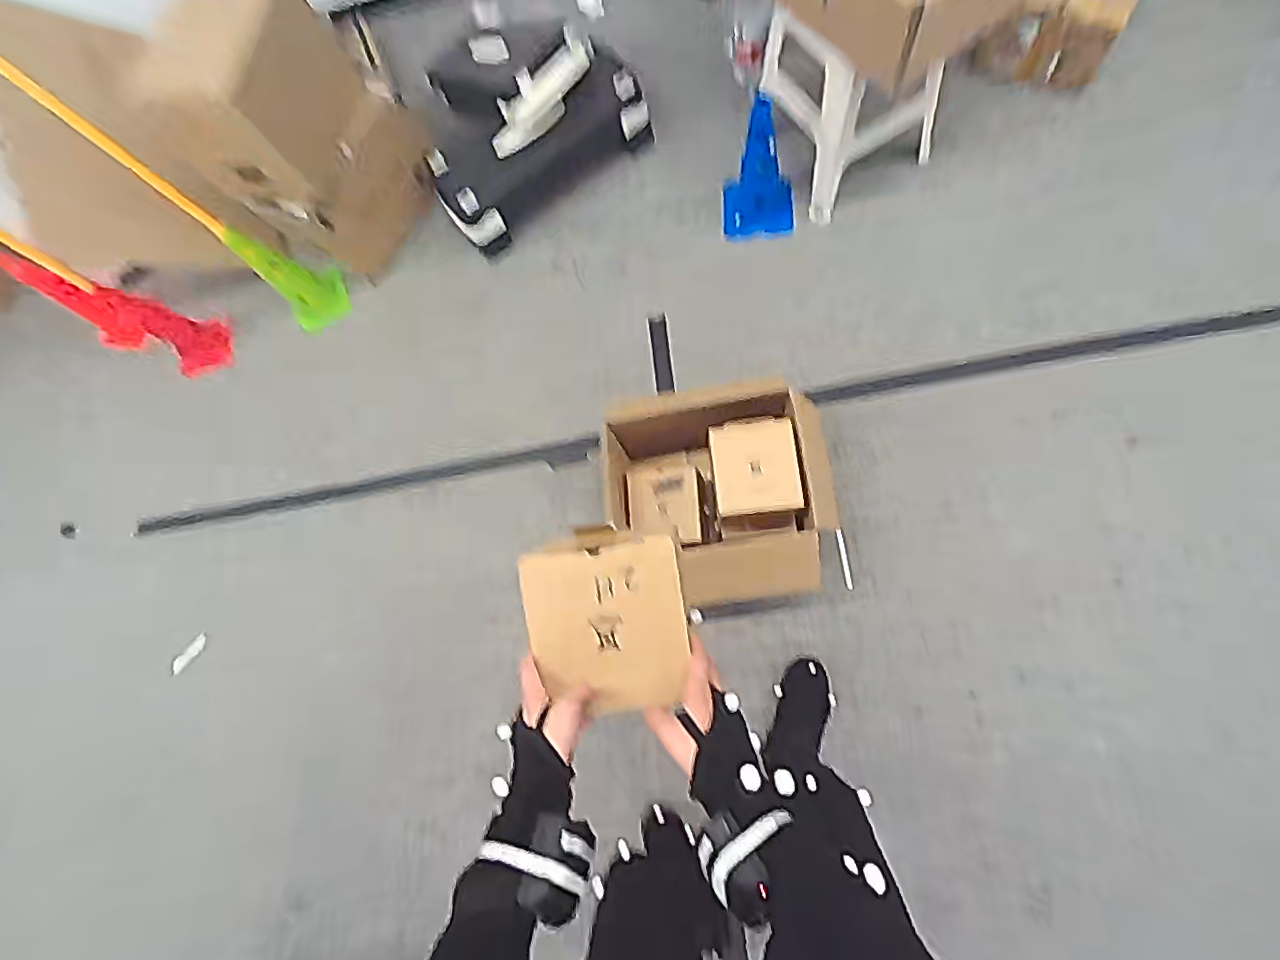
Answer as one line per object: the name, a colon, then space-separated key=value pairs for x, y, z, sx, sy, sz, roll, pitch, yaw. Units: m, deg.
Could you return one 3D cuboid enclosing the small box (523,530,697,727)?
small box: x=-0.024 y=0.160 z=0.632 sx=0.168 sy=0.176 sz=0.179 roll=-8 pitch=89 yaw=5
